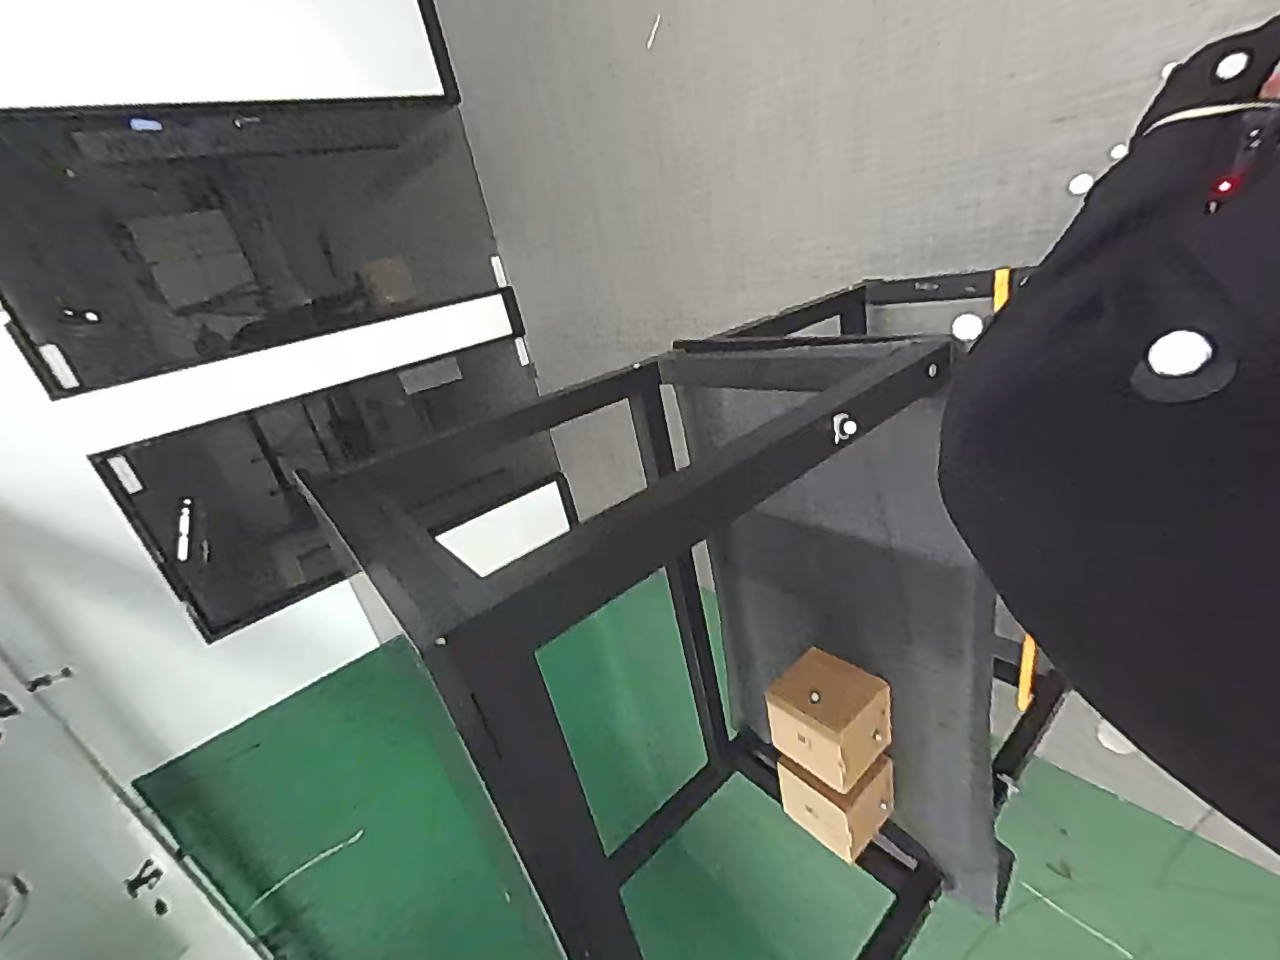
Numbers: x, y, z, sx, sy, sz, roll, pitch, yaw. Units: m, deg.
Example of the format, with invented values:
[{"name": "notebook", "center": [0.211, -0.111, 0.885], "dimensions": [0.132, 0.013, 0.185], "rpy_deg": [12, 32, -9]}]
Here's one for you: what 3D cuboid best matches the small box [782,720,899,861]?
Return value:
[{"name": "small box", "center": [0.439, 0.663, 1.182], "dimensions": [0.179, 0.176, 0.168], "rpy_deg": [18, 127, 51]}]
